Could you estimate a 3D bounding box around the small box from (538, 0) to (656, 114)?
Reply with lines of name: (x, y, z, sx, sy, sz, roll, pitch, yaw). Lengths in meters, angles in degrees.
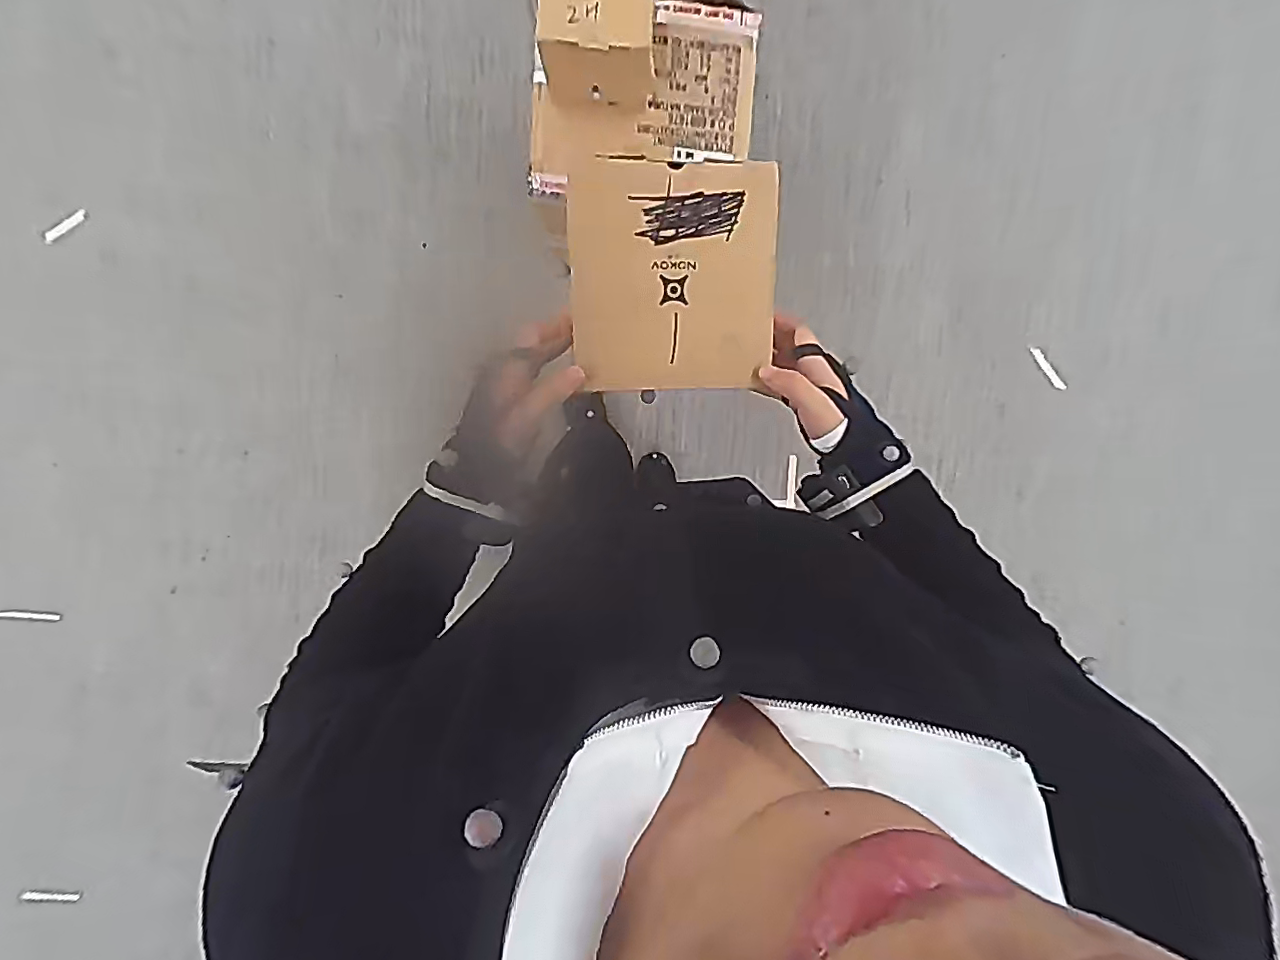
small box: (-0.060, -0.715, 0.842, 0.168, 0.176, 0.179, 4, 98, -1)
